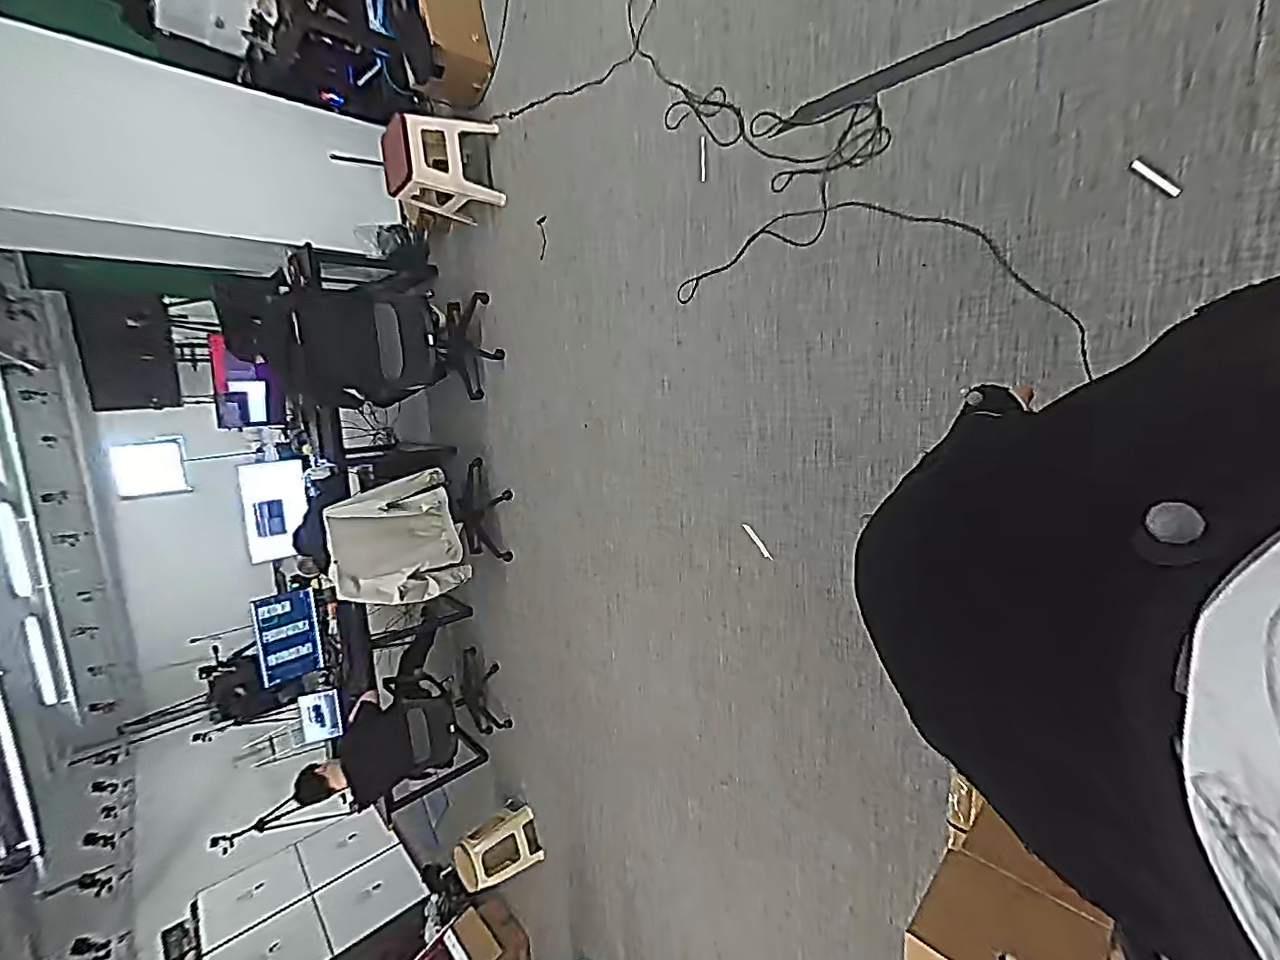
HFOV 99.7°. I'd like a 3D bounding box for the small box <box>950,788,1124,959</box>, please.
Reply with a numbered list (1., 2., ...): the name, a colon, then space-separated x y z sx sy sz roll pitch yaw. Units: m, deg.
1. small box: 0.558 0.586 0.760 0.168 0.176 0.179 7 102 45
